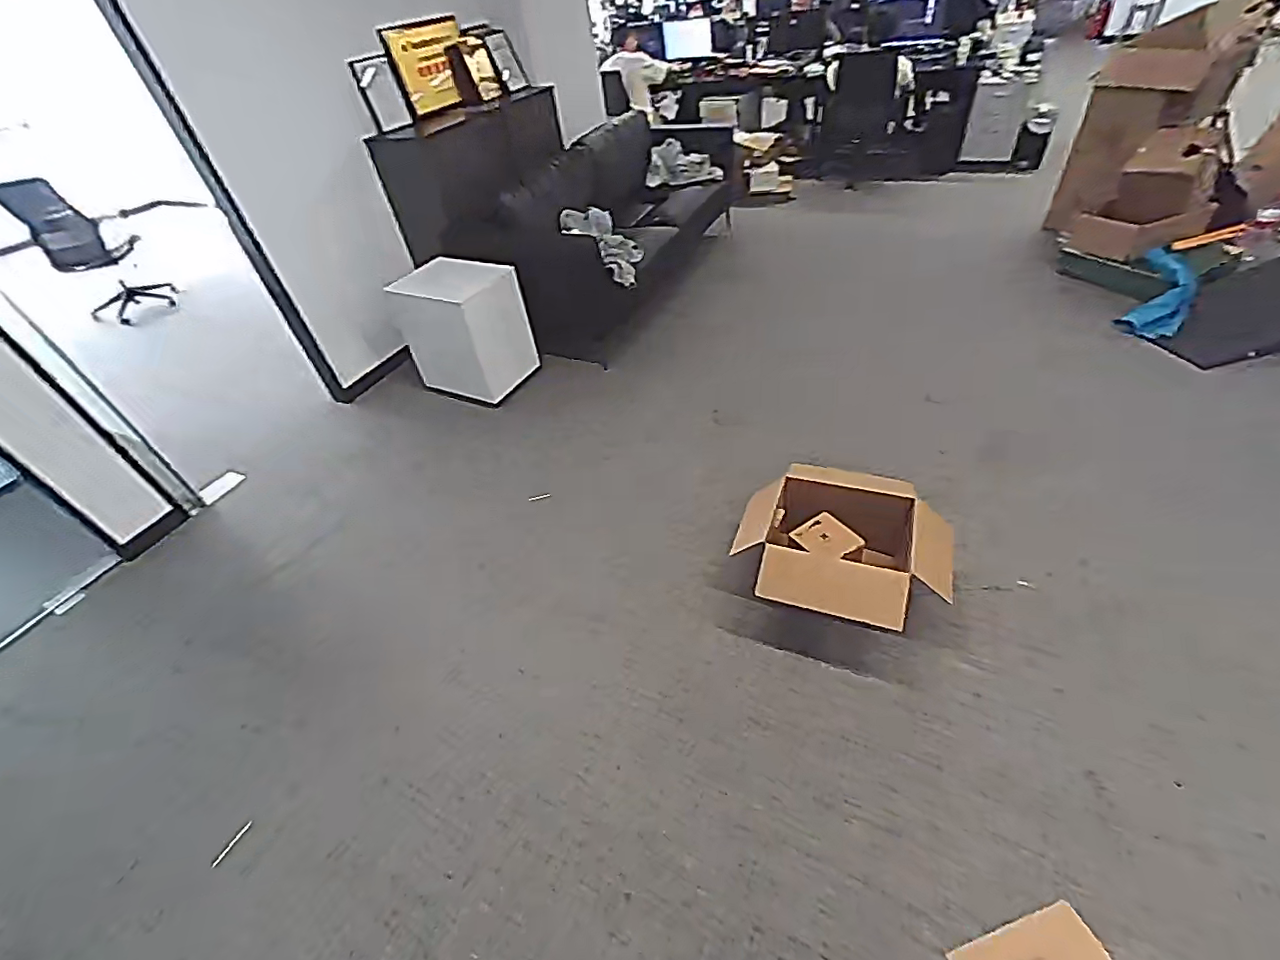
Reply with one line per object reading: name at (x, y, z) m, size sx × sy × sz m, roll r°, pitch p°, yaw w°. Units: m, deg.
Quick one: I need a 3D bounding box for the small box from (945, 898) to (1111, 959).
small box at (0.501, 0.647, 0.617) m, size 0.168 × 0.176 × 0.179 m, roll -31°, pitch 16°, yaw 6°
